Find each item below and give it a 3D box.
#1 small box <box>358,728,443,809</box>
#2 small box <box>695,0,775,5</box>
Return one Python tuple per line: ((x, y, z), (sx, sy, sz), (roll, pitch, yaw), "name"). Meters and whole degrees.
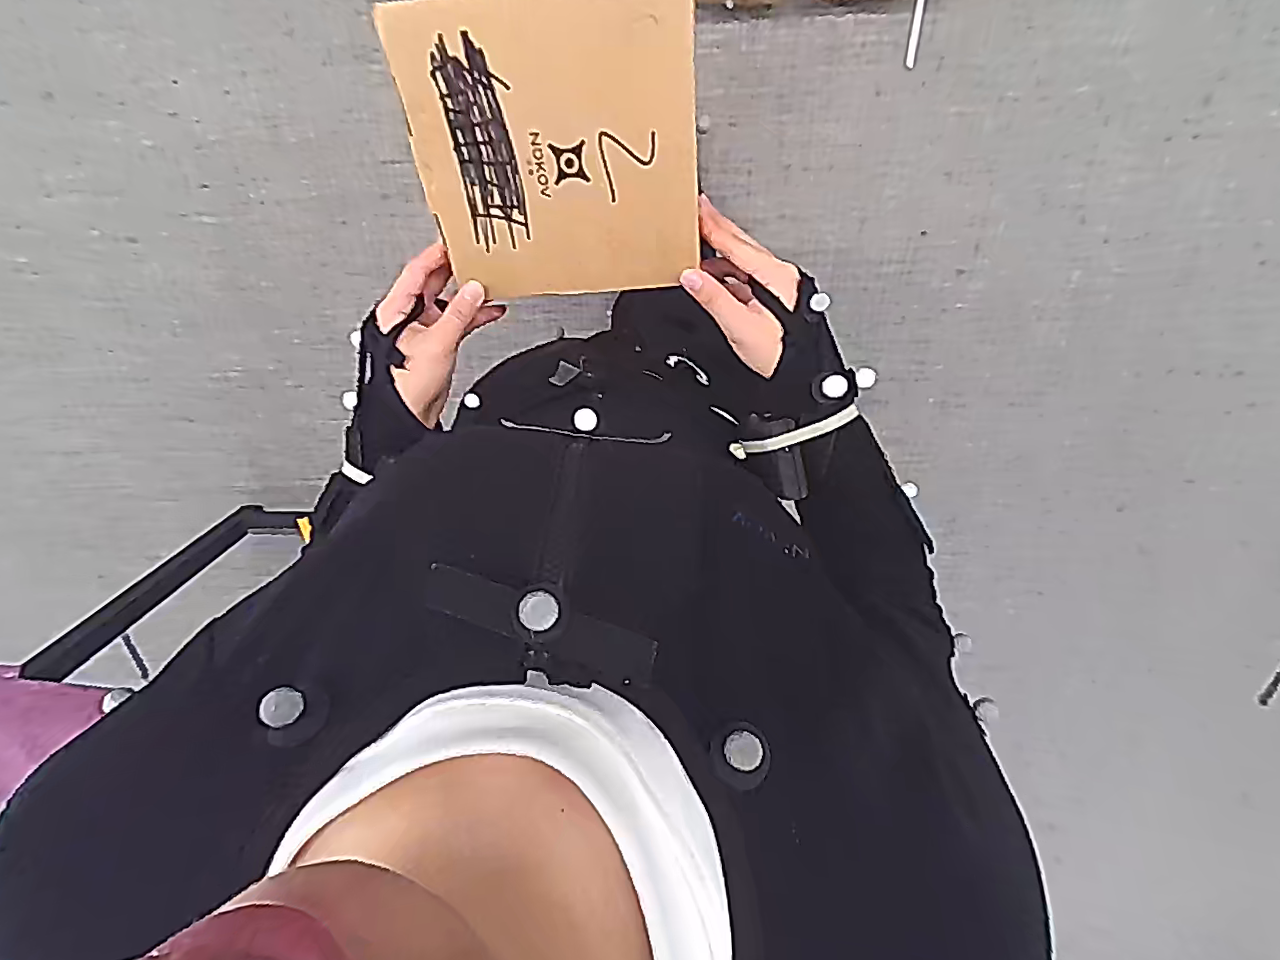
((-0.759, 0.921, 1.732), (0.179, 0.176, 0.168), (-4, 117, 2), "small box")
((0.166, -0.904, 0.869), (0.168, 0.176, 0.179), (2, 119, 1), "small box")
